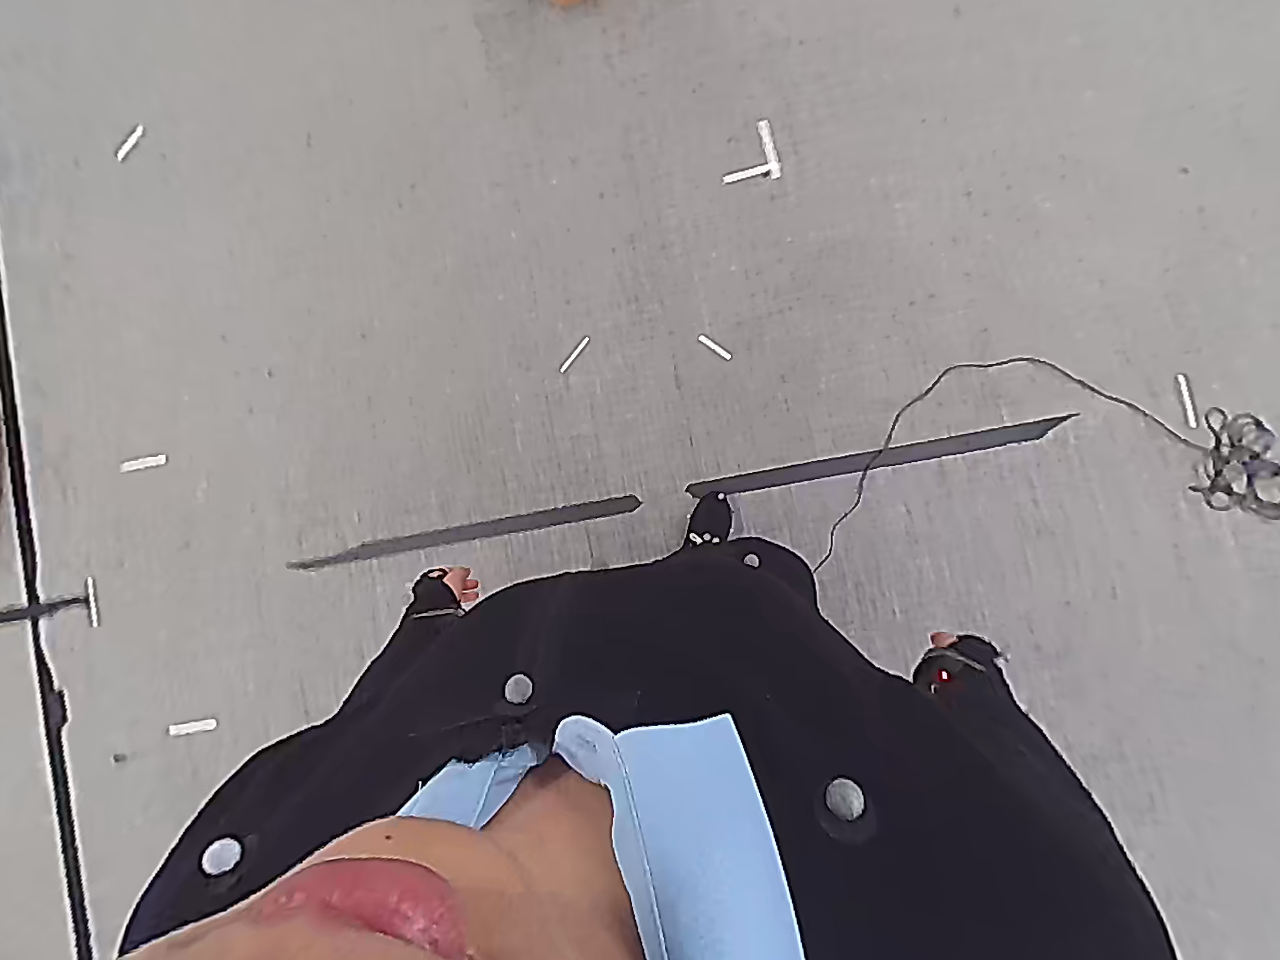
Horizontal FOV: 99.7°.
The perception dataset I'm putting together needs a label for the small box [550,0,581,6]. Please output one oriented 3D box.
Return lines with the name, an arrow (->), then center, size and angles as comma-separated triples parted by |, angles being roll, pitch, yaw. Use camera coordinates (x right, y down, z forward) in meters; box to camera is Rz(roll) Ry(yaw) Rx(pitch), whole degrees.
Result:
small box -> -0.207, -1.487, 1.516 | 0.168, 0.176, 0.179 | -15, 85, 4
